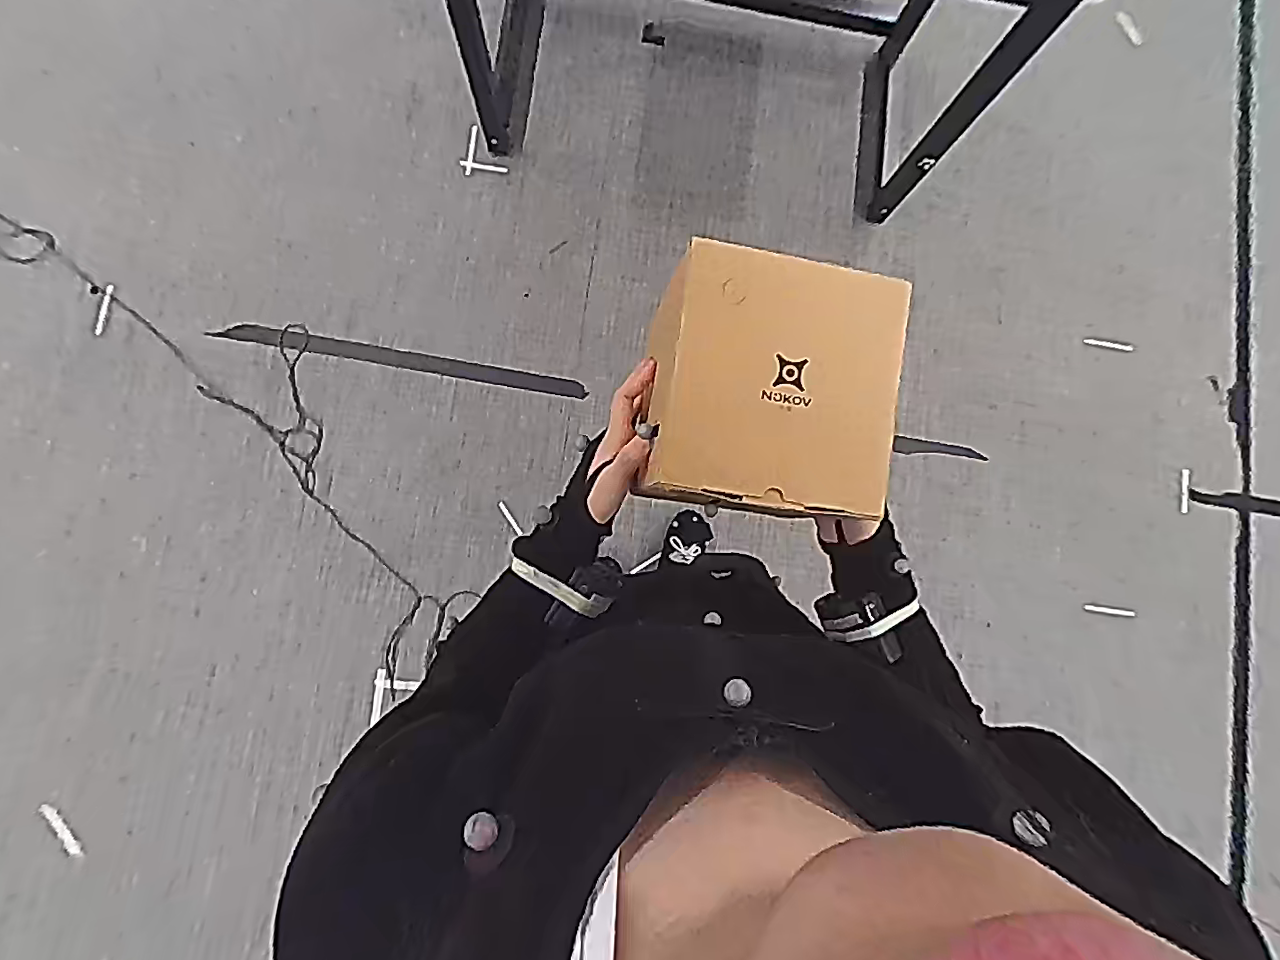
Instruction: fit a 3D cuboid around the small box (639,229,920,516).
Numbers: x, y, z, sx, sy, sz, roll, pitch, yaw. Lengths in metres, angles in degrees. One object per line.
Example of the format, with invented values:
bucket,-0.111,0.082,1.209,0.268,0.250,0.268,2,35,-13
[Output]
small box,0.096,-0.069,0.446,0.168,0.176,0.179,8,87,-7
